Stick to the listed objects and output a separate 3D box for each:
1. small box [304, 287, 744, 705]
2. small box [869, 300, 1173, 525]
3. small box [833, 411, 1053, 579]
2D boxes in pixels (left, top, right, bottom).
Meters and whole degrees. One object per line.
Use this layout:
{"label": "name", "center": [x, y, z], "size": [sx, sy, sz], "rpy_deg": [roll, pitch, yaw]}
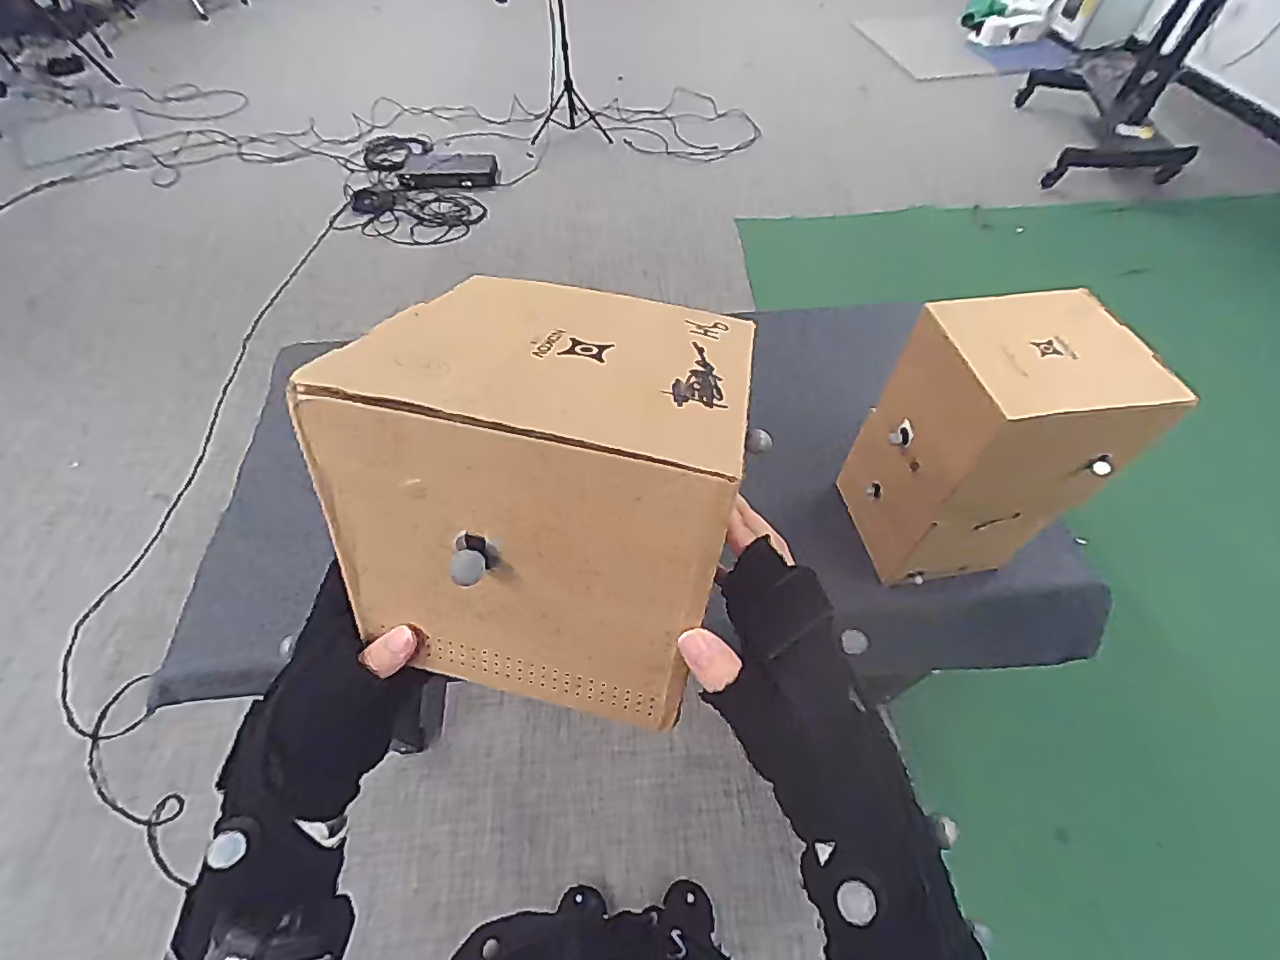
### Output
{"label": "small box", "center": [-0.045, 0.003, 0.318], "size": [0.179, 0.176, 0.168], "rpy_deg": [11, 36, 6]}
{"label": "small box", "center": [0.381, -0.068, 0.584], "size": [0.179, 0.176, 0.168], "rpy_deg": [-7, 53, -3]}
{"label": "small box", "center": [0.382, 0.019, 0.721], "size": [0.168, 0.176, 0.179], "rpy_deg": [-8, 54, -5]}
